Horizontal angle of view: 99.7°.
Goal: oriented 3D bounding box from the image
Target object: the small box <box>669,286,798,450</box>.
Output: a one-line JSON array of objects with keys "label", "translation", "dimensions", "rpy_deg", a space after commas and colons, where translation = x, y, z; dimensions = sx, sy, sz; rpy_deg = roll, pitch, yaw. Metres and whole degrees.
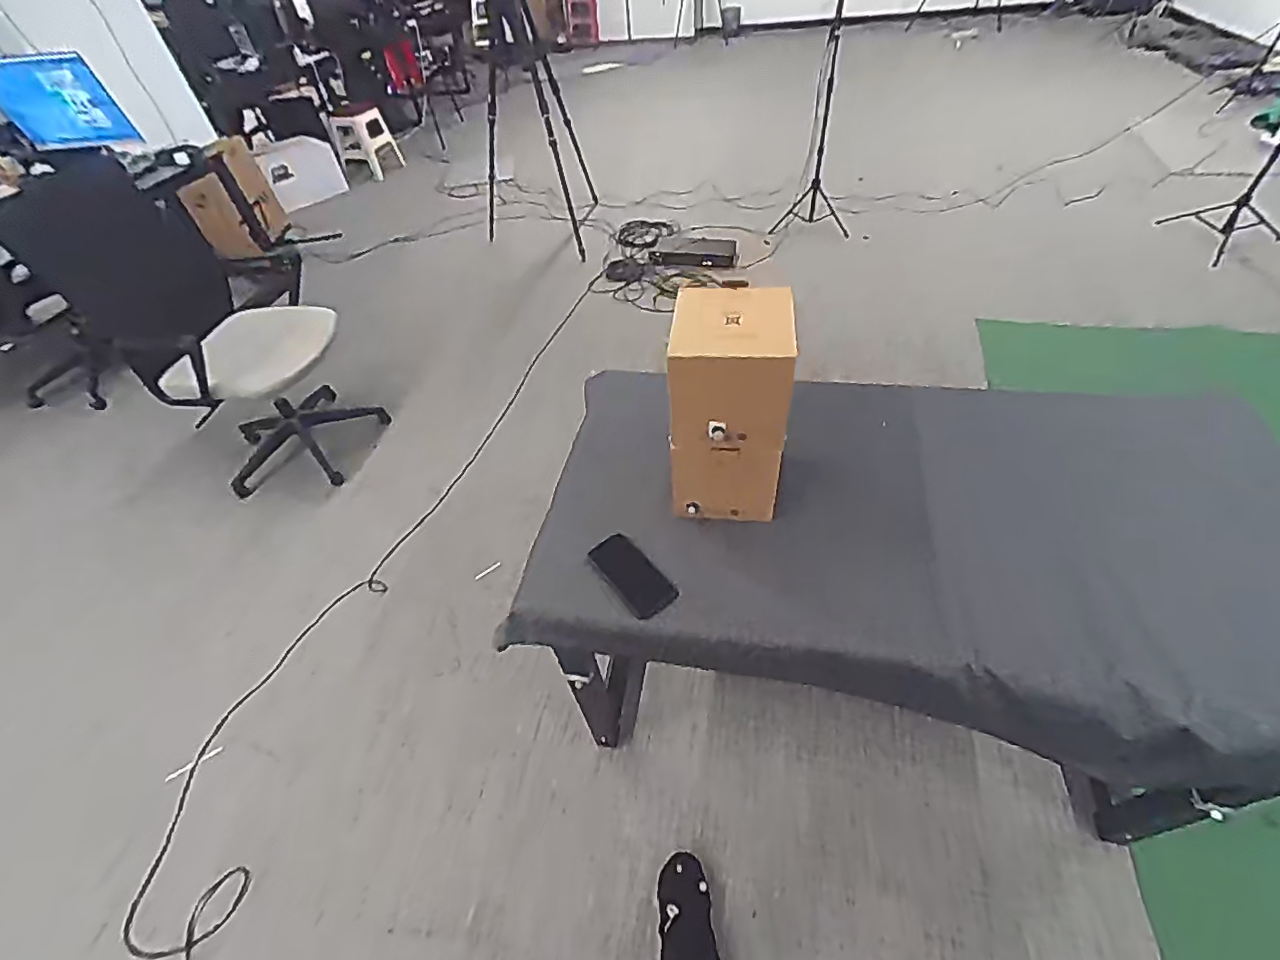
[{"label": "small box", "translation": [0.135, -0.166, 0.798], "dimensions": [0.168, 0.176, 0.179], "rpy_deg": [2, 49, 9]}]

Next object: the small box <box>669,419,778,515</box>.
[{"label": "small box", "translation": [0.144, -0.057, 0.917], "dimensions": [0.168, 0.176, 0.179], "rpy_deg": [3, 48, 9]}]
